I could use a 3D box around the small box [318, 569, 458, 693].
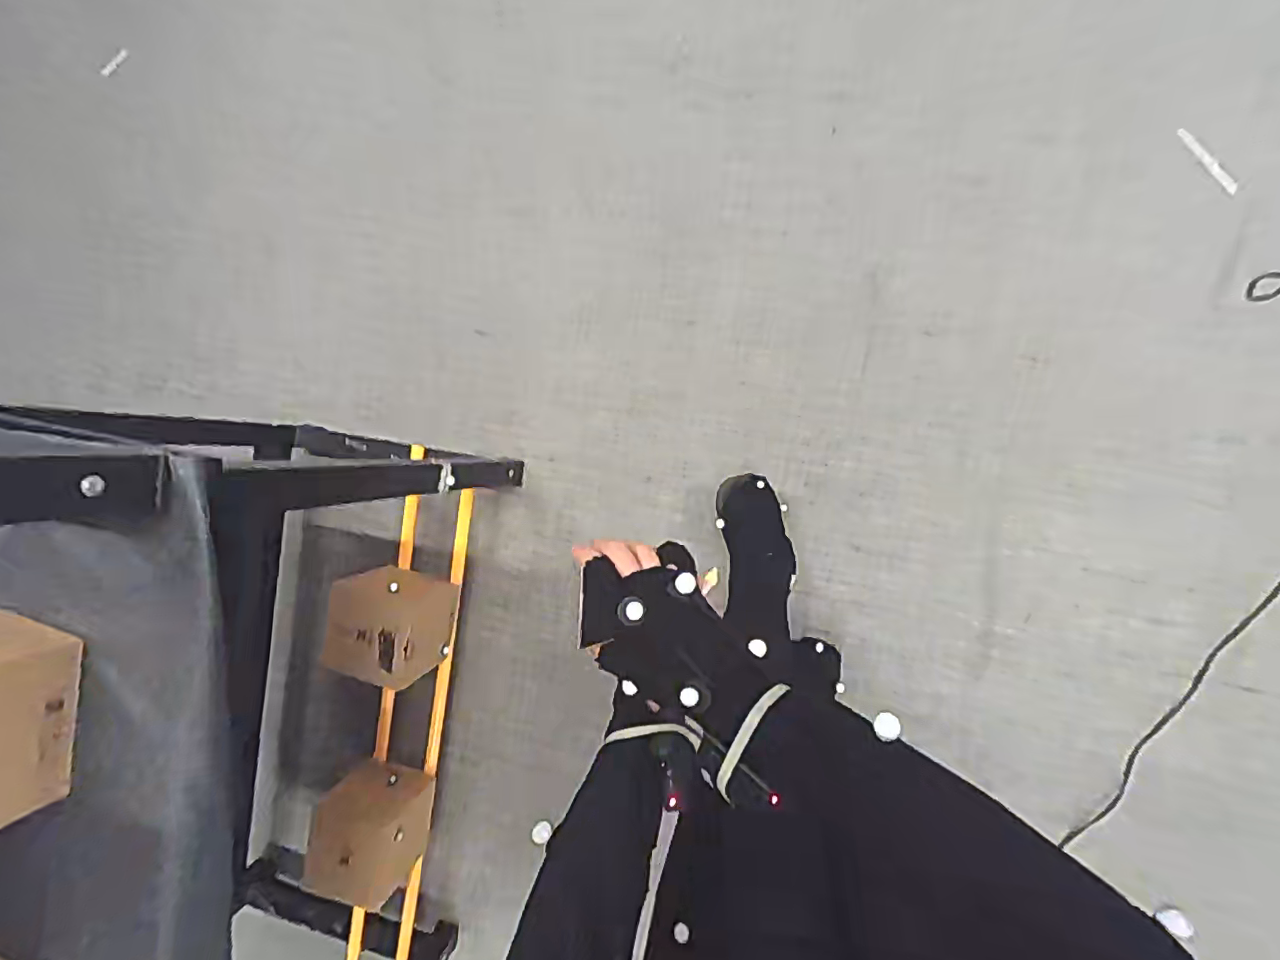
[{"bbox_3d":[-0.486,0.285,1.064,0.179,0.176,0.168,13,94,11],"label":"small box"}]
